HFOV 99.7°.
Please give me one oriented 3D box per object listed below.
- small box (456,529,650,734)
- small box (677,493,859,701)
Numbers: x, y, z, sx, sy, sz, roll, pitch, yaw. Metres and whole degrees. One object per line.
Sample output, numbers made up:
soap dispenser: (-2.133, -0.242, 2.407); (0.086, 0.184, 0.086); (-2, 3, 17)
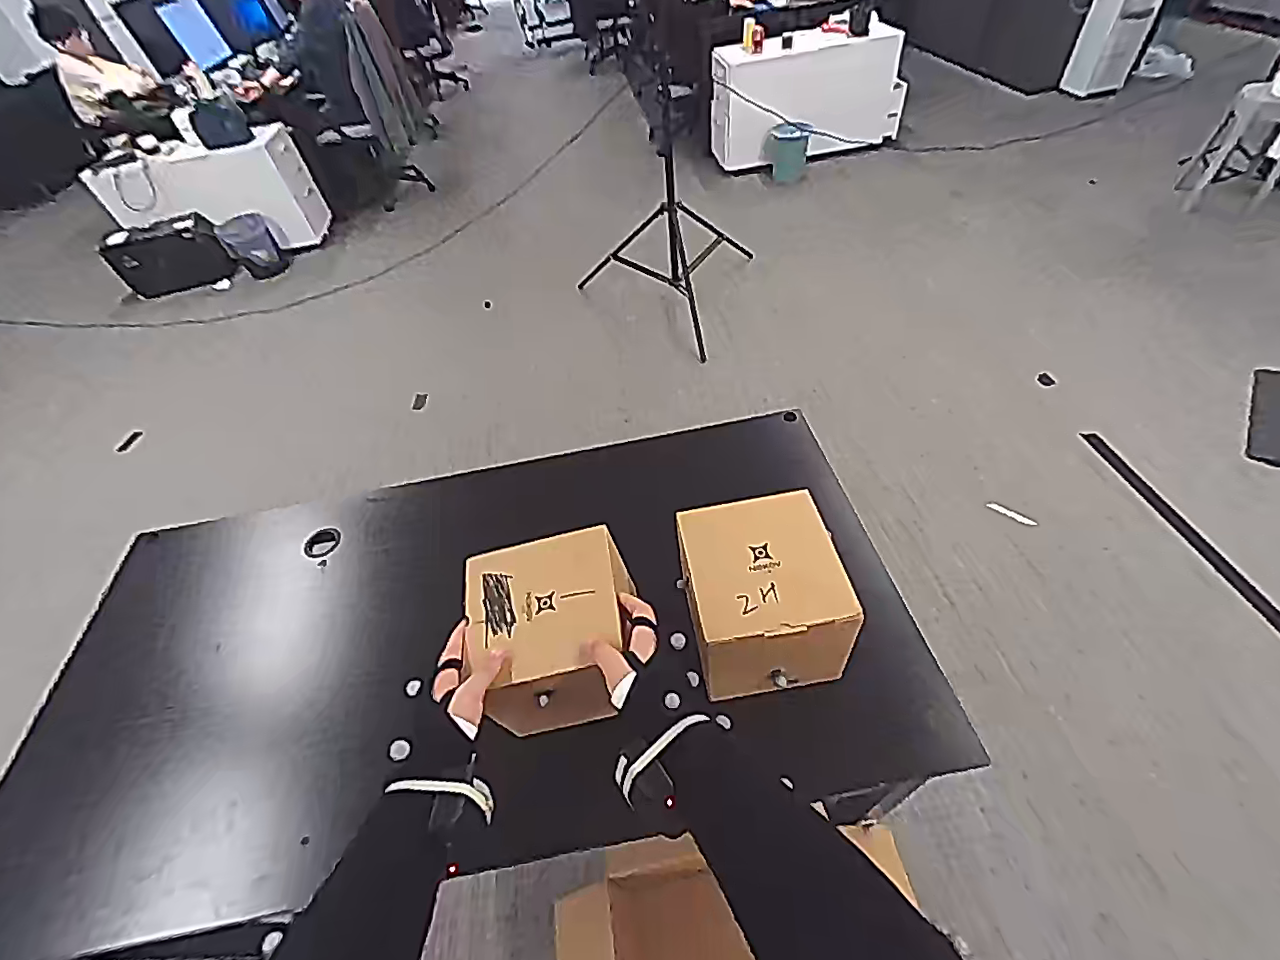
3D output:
small box: (-0.097, 0.188, 0.649); (0.179, 0.176, 0.168); (-13, 50, 3)
small box: (0.142, 0.144, 0.662); (0.168, 0.176, 0.179); (-10, 48, 1)
